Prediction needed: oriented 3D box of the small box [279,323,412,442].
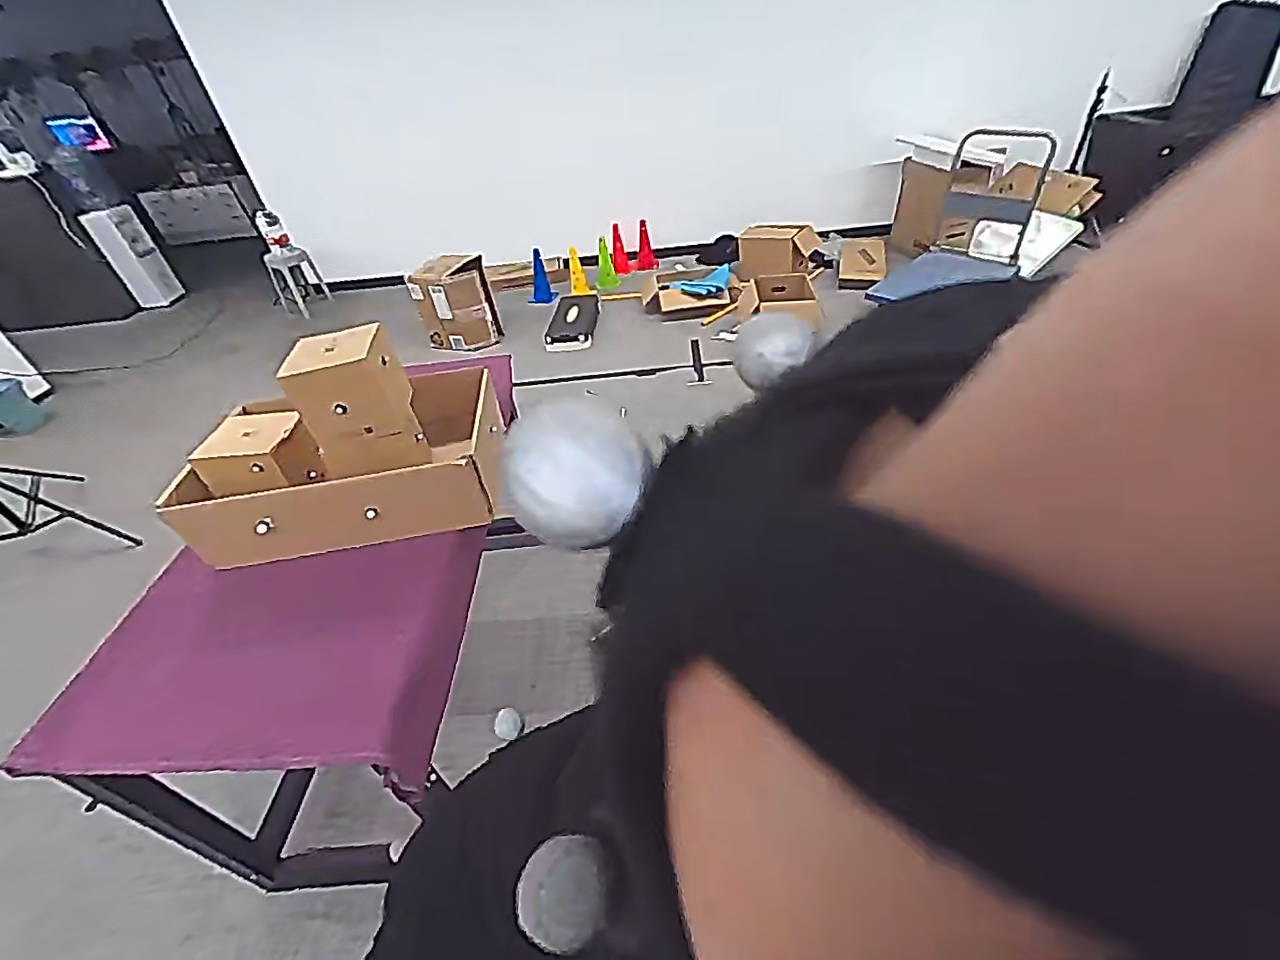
[{"bbox_3d":[-0.582,-0.191,1.097,0.168,0.176,0.179,-14,39,-4],"label":"small box"}]
